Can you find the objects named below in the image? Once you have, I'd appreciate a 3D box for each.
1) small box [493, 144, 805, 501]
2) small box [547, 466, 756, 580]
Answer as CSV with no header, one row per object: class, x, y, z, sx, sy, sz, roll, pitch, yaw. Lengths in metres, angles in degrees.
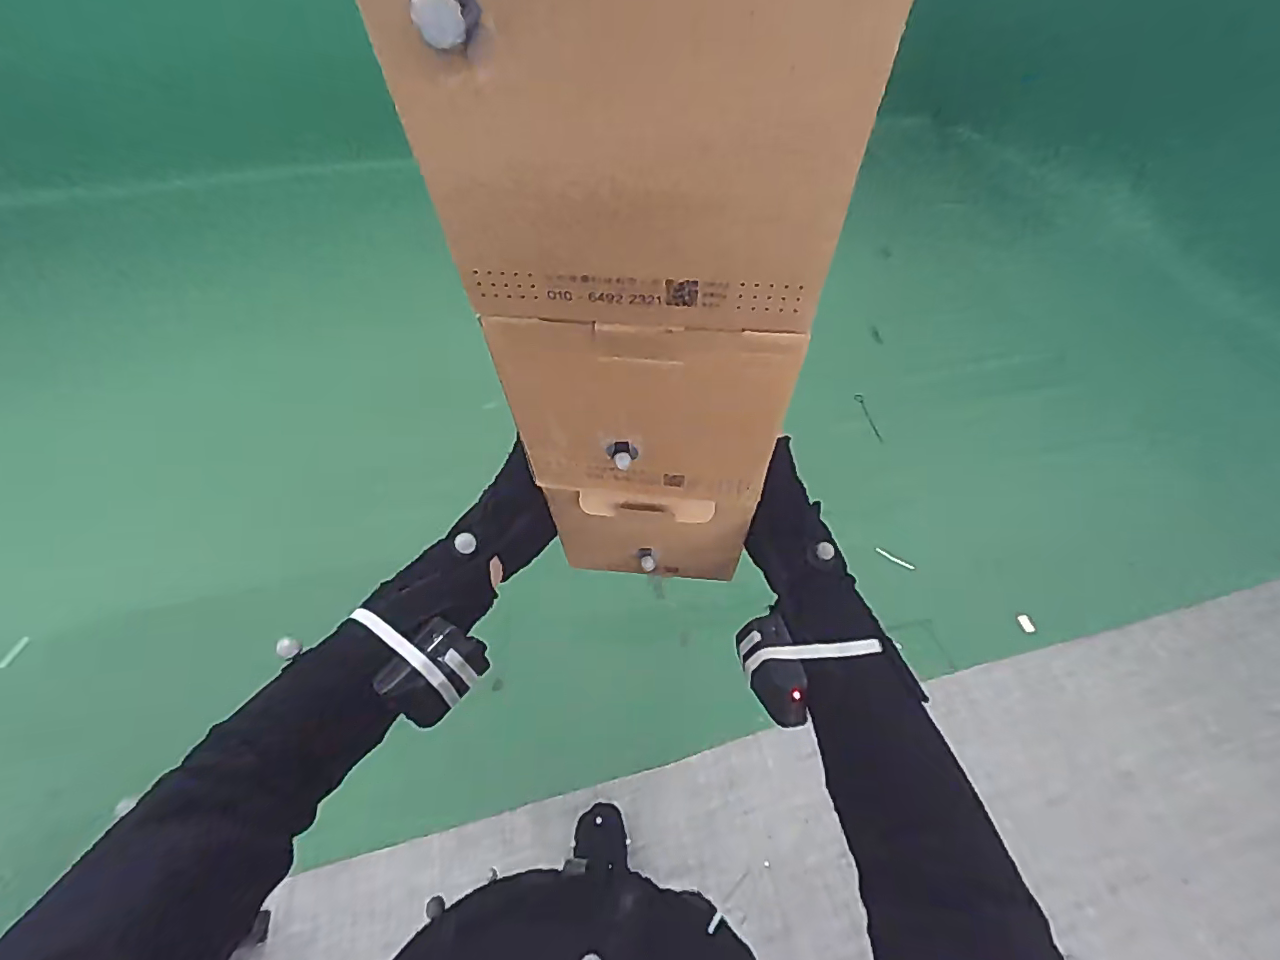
small box,0.013,-0.106,0.388,0.168,0.176,0.179,4,59,4
small box,0.019,-0.021,0.527,0.168,0.176,0.179,5,59,5
